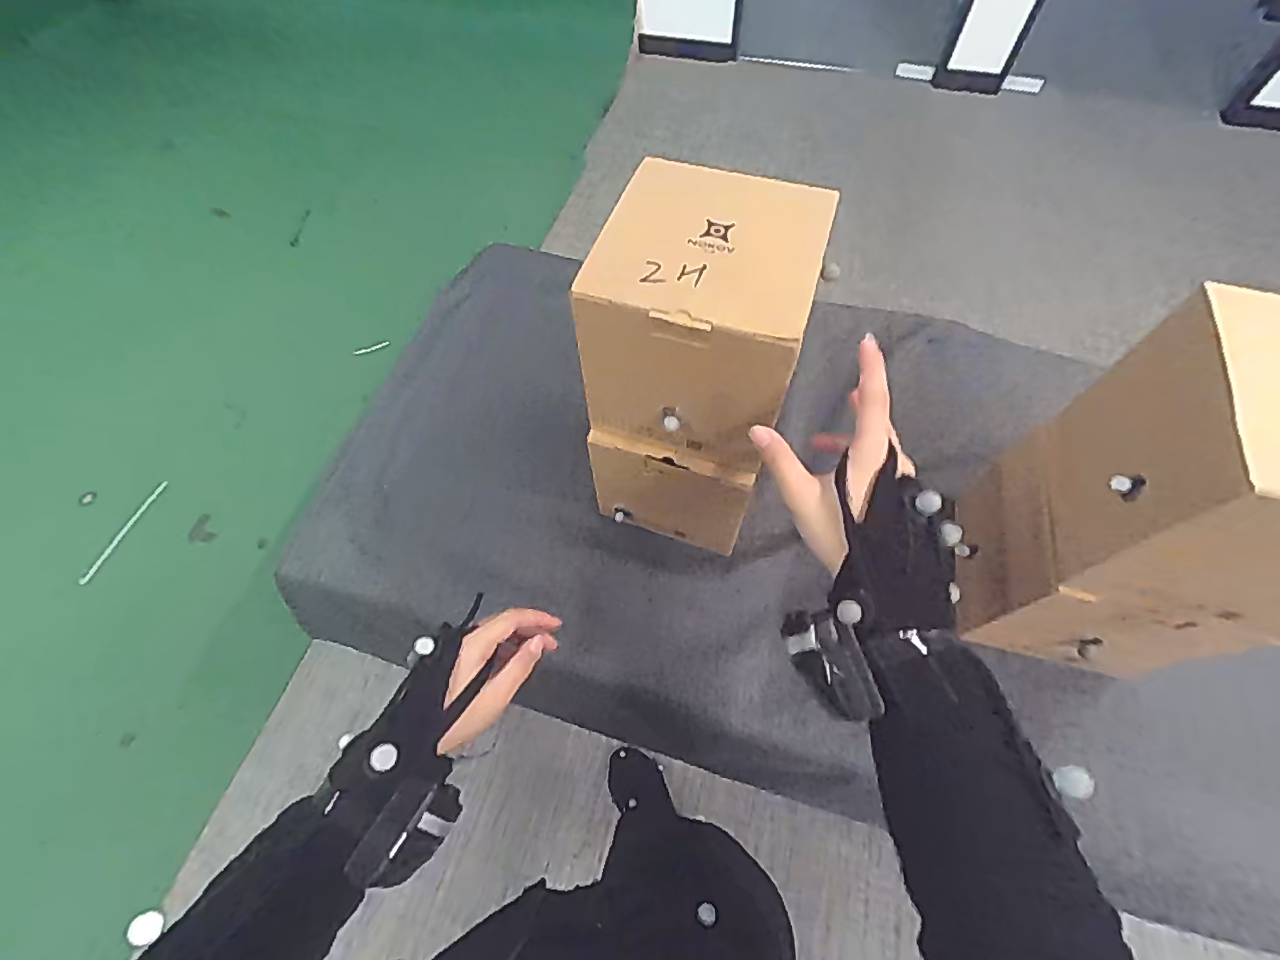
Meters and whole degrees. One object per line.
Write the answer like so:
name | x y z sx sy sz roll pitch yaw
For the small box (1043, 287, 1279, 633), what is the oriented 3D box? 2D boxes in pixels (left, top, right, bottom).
small box | 0.437 -0.005 0.400 0.168 0.176 0.179 16 61 9

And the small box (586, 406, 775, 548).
small box | 0.054 -0.046 0.617 0.168 0.176 0.179 18 62 10

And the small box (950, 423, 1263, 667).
small box | 0.435 0.073 0.543 0.168 0.176 0.179 13 62 8

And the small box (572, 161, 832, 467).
small box | 0.053 -0.141 0.480 0.168 0.176 0.179 16 62 10
